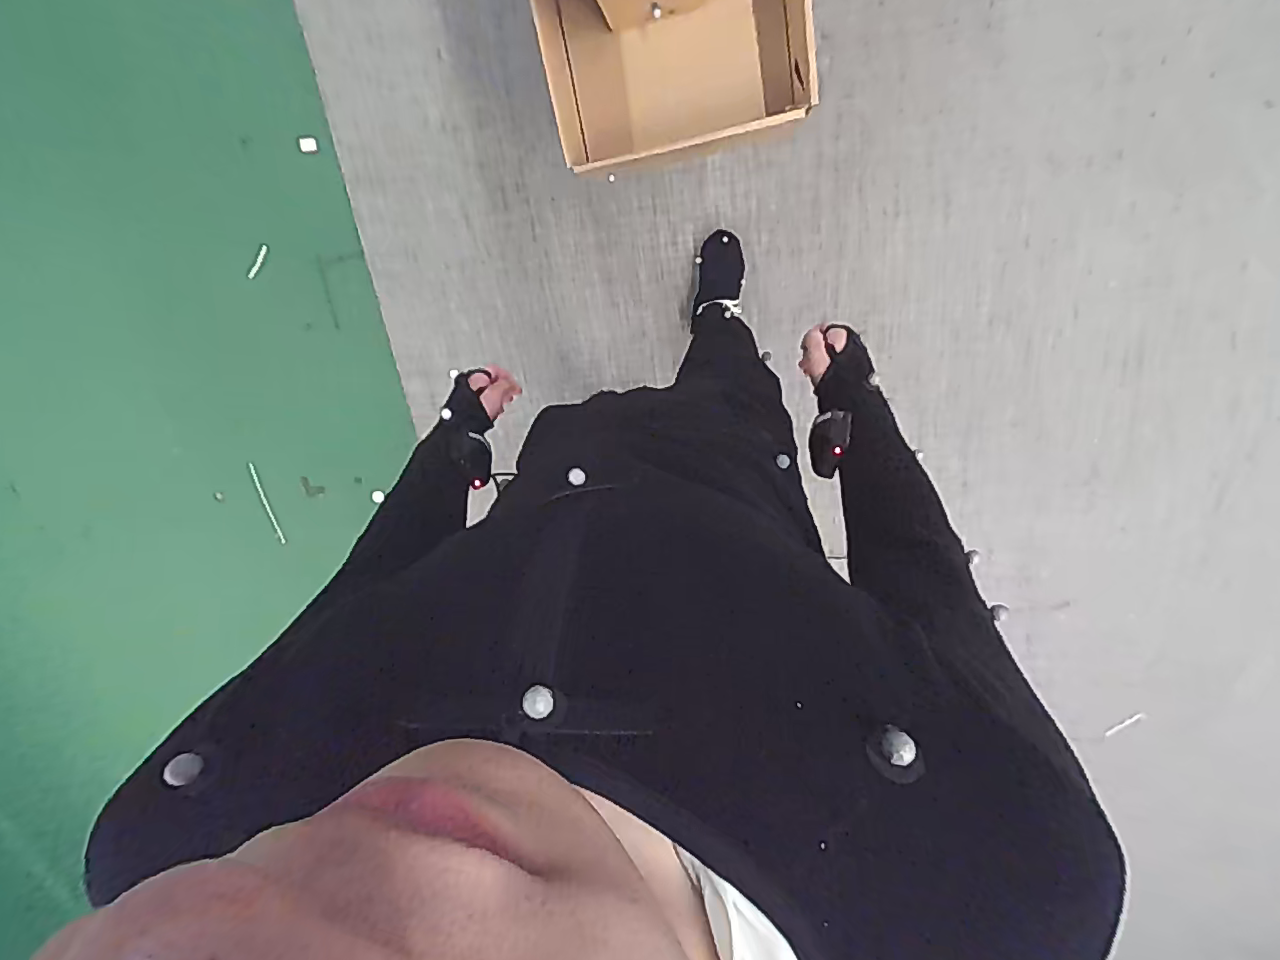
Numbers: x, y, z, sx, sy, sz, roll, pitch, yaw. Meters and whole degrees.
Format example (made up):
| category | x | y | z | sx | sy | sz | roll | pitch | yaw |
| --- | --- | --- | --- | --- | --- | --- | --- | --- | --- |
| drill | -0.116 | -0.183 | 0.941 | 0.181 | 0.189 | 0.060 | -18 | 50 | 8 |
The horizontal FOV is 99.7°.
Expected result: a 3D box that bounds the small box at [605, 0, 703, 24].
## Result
| category | x | y | z | sx | sy | sz | roll | pitch | yaw |
| --- | --- | --- | --- | --- | --- | --- | --- | --- | --- |
| small box | 0.008 | -0.815 | 0.783 | 0.168 | 0.176 | 0.179 | -6 | 111 | 11 |
